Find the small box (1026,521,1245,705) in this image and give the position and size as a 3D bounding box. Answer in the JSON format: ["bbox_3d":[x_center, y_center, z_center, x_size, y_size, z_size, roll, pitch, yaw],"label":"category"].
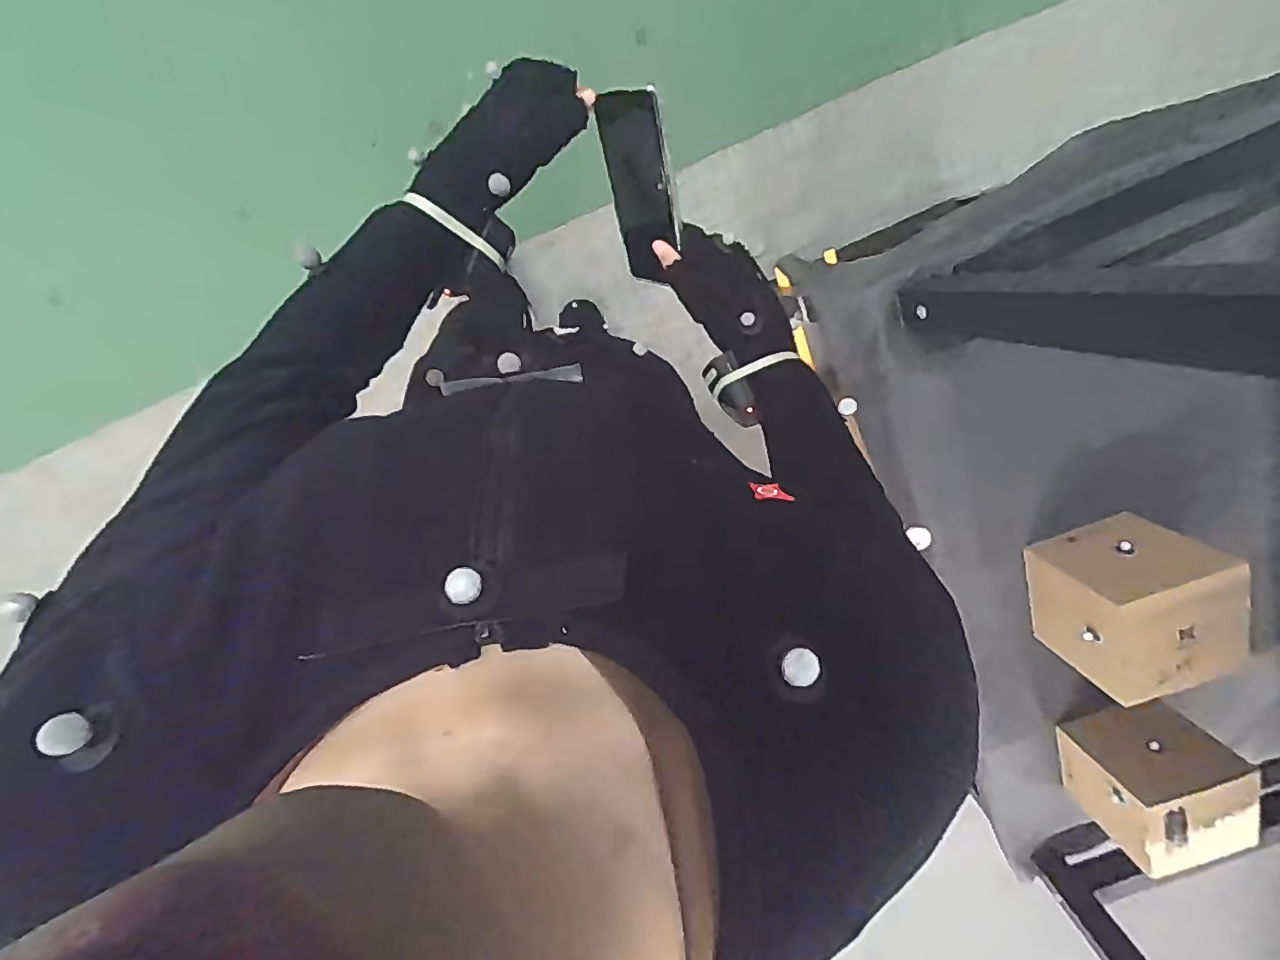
[{"bbox_3d":[0.693,0.176,0.775,0.168,0.176,0.179,-20,109,3],"label":"small box"}]
